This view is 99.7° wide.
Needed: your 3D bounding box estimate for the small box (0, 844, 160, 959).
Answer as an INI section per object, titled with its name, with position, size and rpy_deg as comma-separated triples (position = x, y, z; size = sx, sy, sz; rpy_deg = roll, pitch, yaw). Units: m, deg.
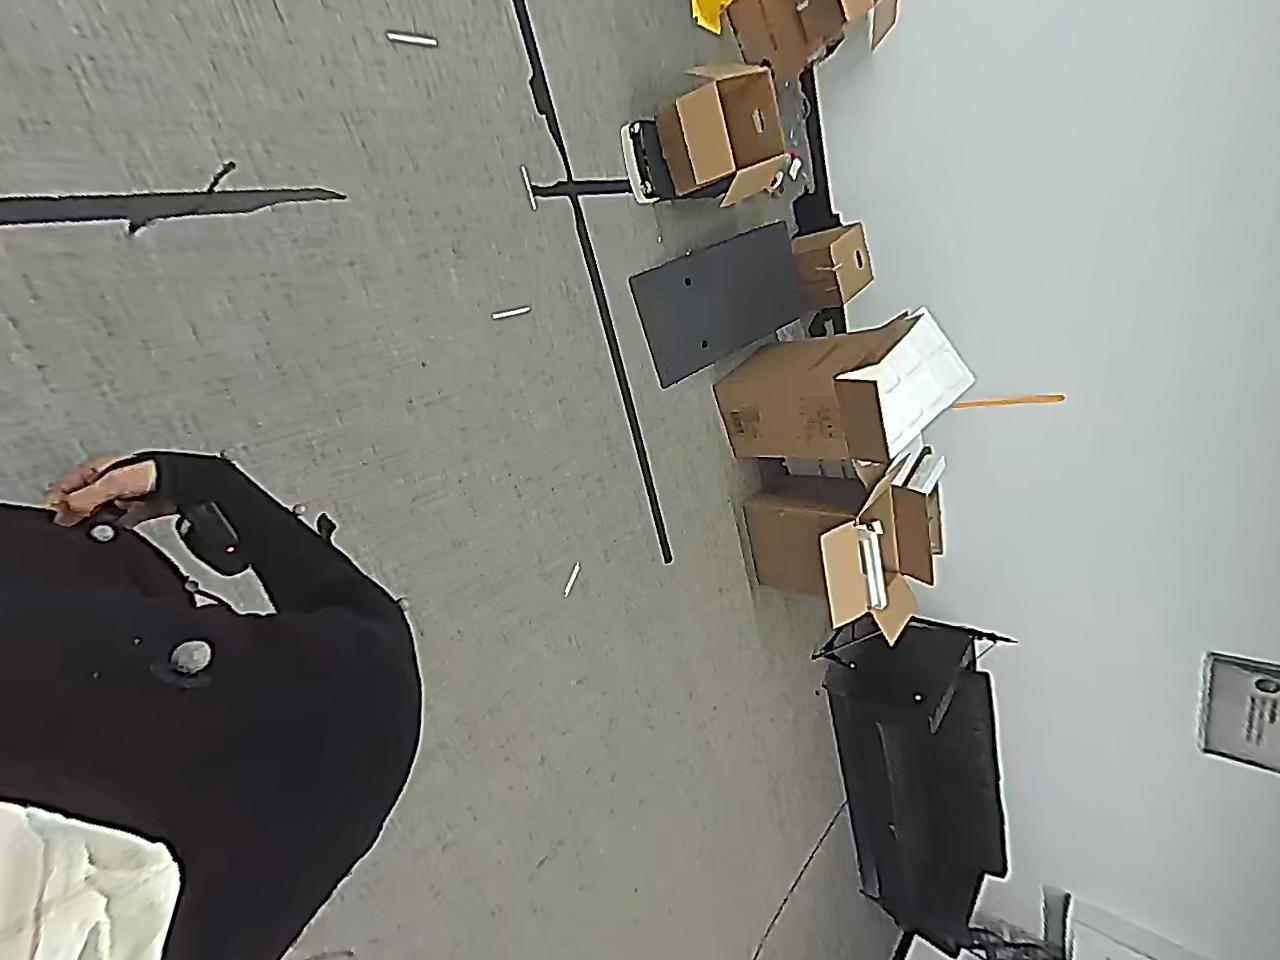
[small box]
position = -1.134, 0.909, 1.109
size = 0.179, 0.176, 0.168
rpy_deg = -37, 117, -35
